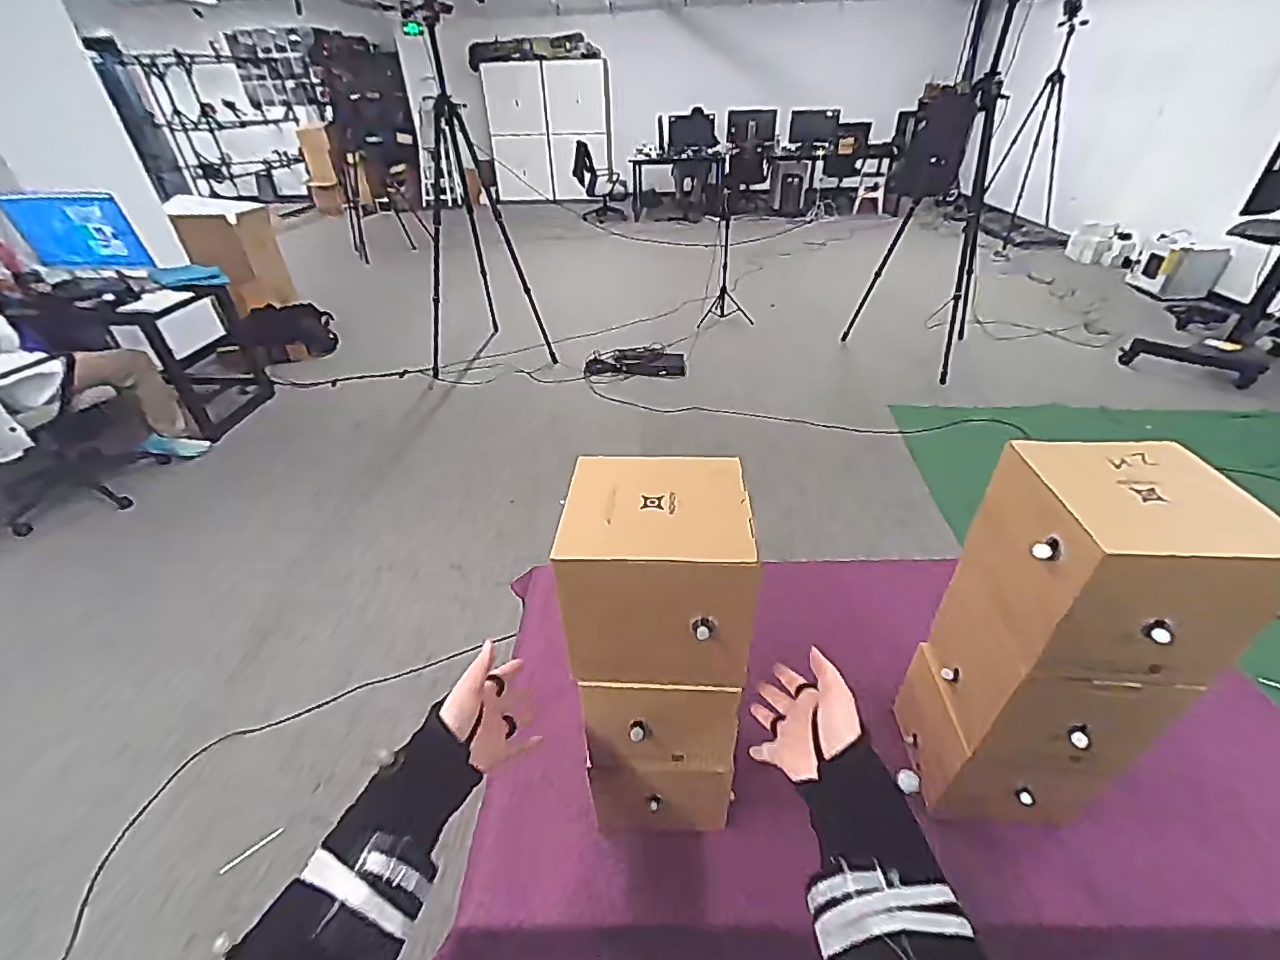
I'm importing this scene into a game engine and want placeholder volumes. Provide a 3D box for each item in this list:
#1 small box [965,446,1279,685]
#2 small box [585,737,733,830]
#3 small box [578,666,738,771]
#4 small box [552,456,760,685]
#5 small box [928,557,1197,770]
[{"bbox_3d":[0.463,0.082,0.542,0.168,0.176,0.179,2,36,6],"label":"small box"},{"bbox_3d":[0.028,0.357,0.744,0.179,0.176,0.168,0,36,3],"label":"small box"},{"bbox_3d":[0.026,0.224,0.652,0.168,0.176,0.179,1,35,4],"label":"small box"},{"bbox_3d":[0.020,0.091,0.557,0.179,0.176,0.168,1,34,5],"label":"small box"},{"bbox_3d":[0.470,0.215,0.640,0.168,0.176,0.179,3,37,7],"label":"small box"}]
